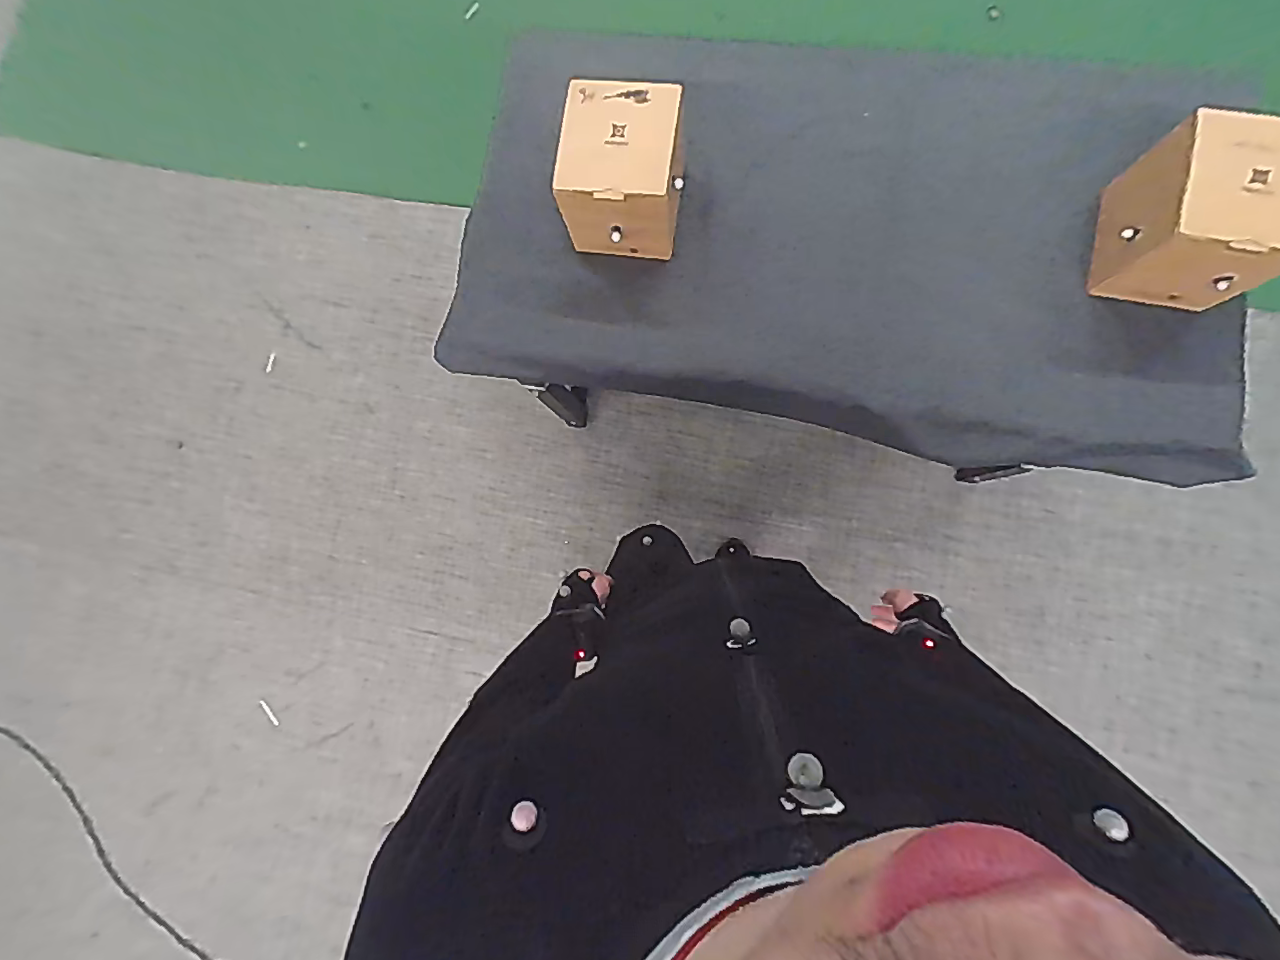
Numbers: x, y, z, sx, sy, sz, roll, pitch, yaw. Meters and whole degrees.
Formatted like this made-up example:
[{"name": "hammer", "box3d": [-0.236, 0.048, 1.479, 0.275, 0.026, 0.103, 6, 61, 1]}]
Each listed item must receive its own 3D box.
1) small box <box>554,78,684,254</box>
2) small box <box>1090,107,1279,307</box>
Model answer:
[{"name": "small box", "box3d": [-0.023, -0.476, 0.842, 0.168, 0.176, 0.179, 8, 85, 6]}, {"name": "small box", "box3d": [0.771, -0.362, 0.744, 0.168, 0.176, 0.179, 12, 84, 6]}]
